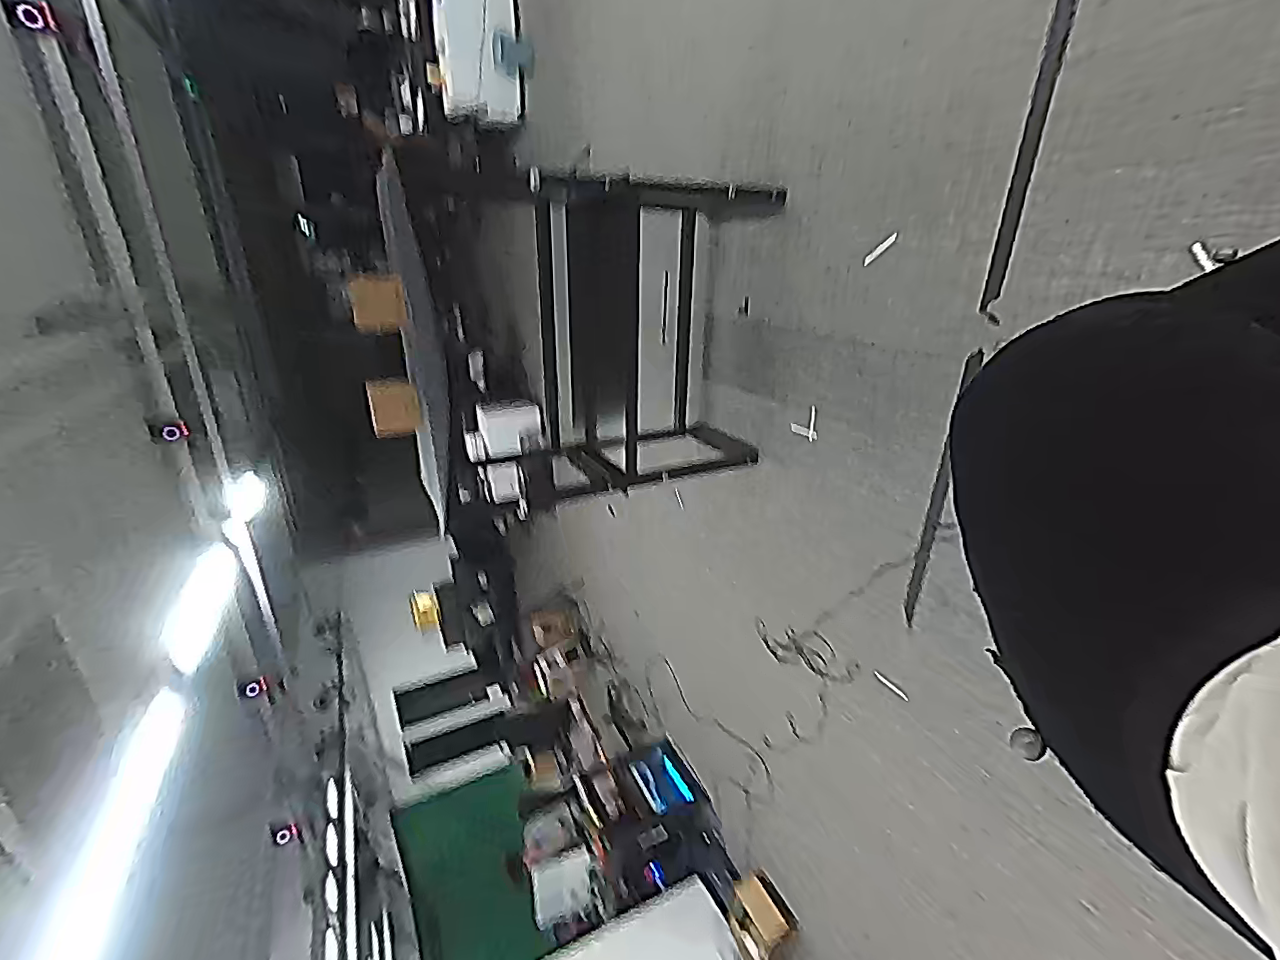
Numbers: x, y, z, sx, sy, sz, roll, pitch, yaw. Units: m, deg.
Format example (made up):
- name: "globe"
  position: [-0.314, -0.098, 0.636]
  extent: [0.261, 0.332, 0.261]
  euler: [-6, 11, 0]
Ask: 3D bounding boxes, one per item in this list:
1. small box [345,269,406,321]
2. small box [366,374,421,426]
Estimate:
- name: "small box"
  position: [-0.934, -0.661, 1.919]
  extent: [0.179, 0.176, 0.168]
  euler: [35, 130, 57]
- name: "small box"
  position: [-0.959, -0.316, 2.104]
  extent: [0.179, 0.176, 0.168]
  euler: [33, 128, 56]
